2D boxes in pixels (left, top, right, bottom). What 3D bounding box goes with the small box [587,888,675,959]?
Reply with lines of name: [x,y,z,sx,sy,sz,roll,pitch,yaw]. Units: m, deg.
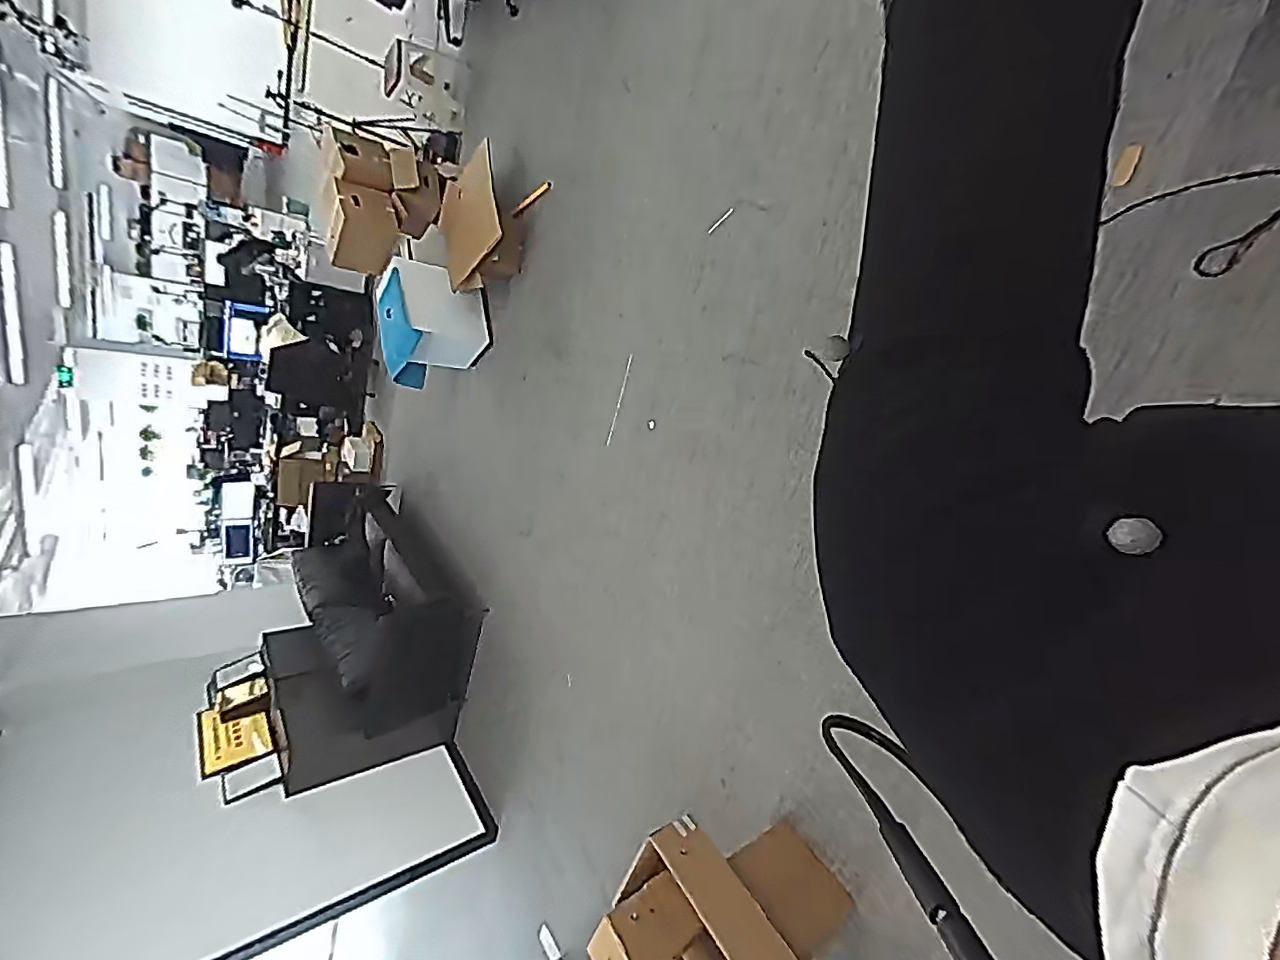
small box: [-0.023,1.345,1.573,0.168,0.176,0.179,42,120,41]
